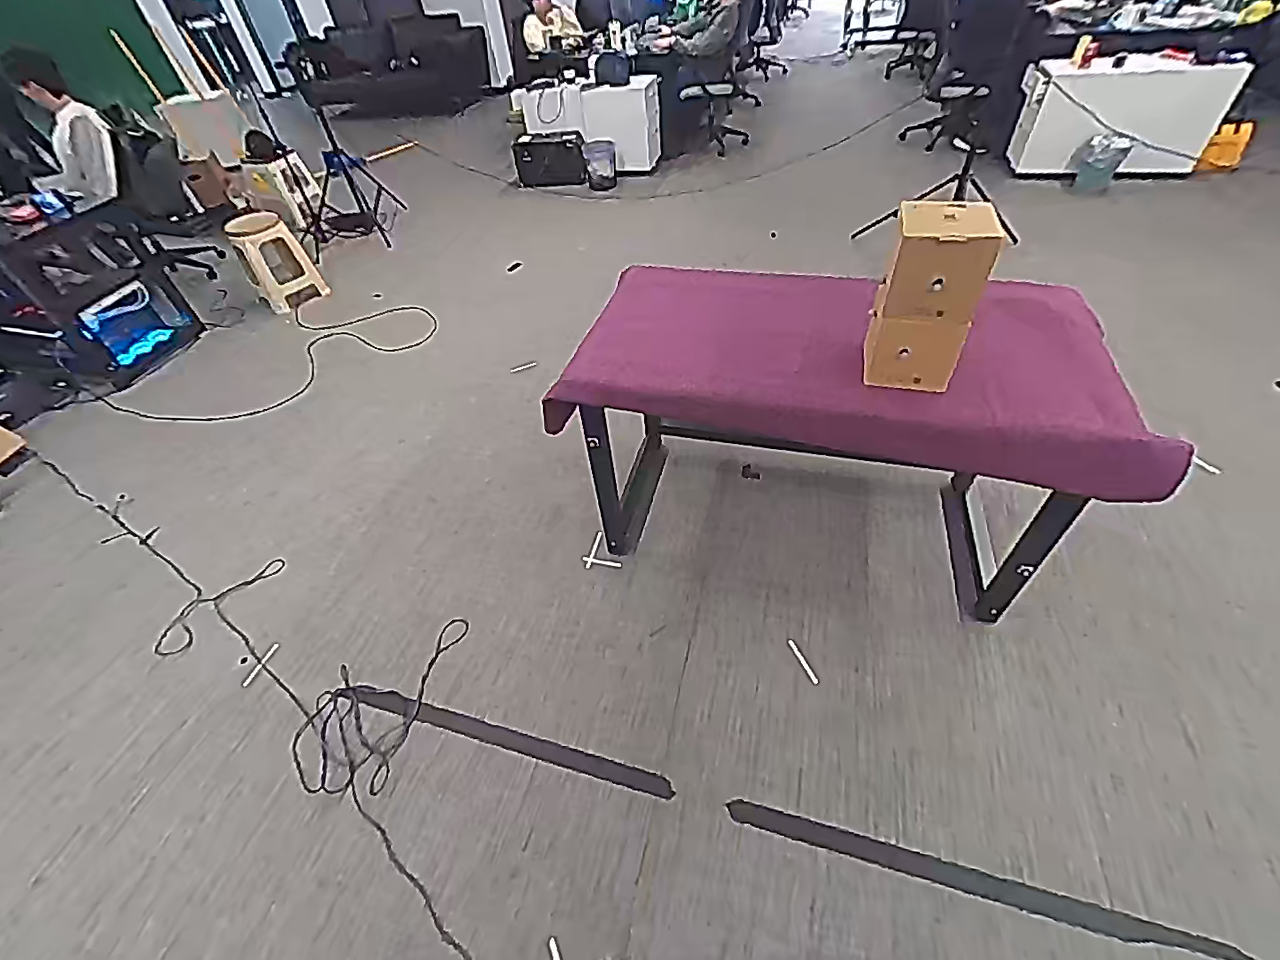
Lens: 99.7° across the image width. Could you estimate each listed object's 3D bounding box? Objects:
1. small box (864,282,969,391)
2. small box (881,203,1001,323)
[{"bbox_3d":[0.597,-0.313,1.186,0.168,0.176,0.179,8,47,15],"label":"small box"},{"bbox_3d":[0.586,-0.430,1.071,0.168,0.176,0.179,9,48,15],"label":"small box"}]
